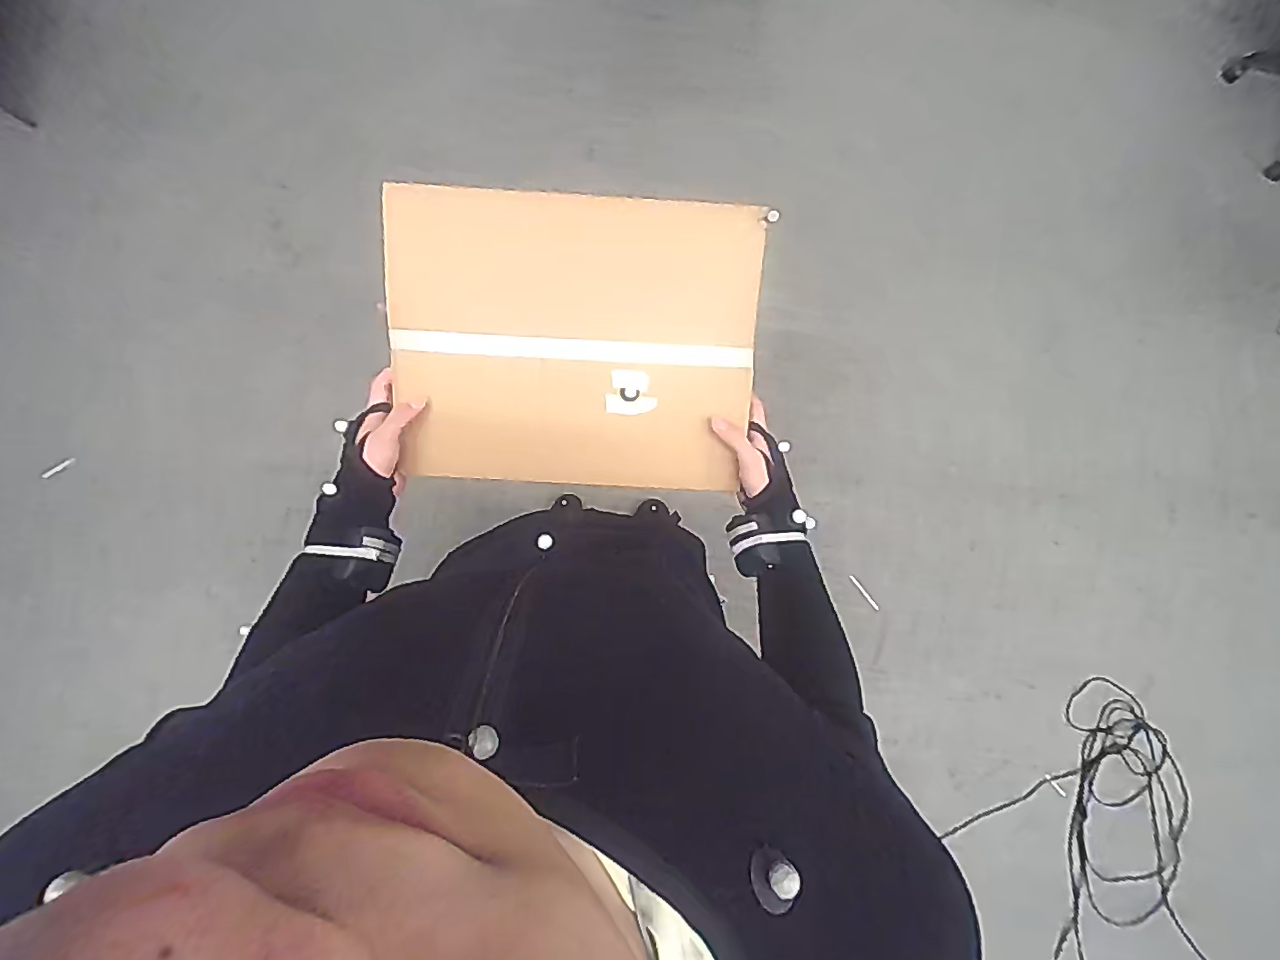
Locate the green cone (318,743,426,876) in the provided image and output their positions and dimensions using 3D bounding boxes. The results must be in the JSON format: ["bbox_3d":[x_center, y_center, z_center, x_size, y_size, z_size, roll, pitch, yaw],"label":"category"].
[{"bbox_3d":[-0.735,0.885,1.420,0.200,0.368,0.202,14,90,-4],"label":"green cone"}]

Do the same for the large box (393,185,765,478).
[{"bbox_3d":[-0.074,-0.191,0.754,0.408,0.320,0.320,2,105,-2],"label":"large box"}]
